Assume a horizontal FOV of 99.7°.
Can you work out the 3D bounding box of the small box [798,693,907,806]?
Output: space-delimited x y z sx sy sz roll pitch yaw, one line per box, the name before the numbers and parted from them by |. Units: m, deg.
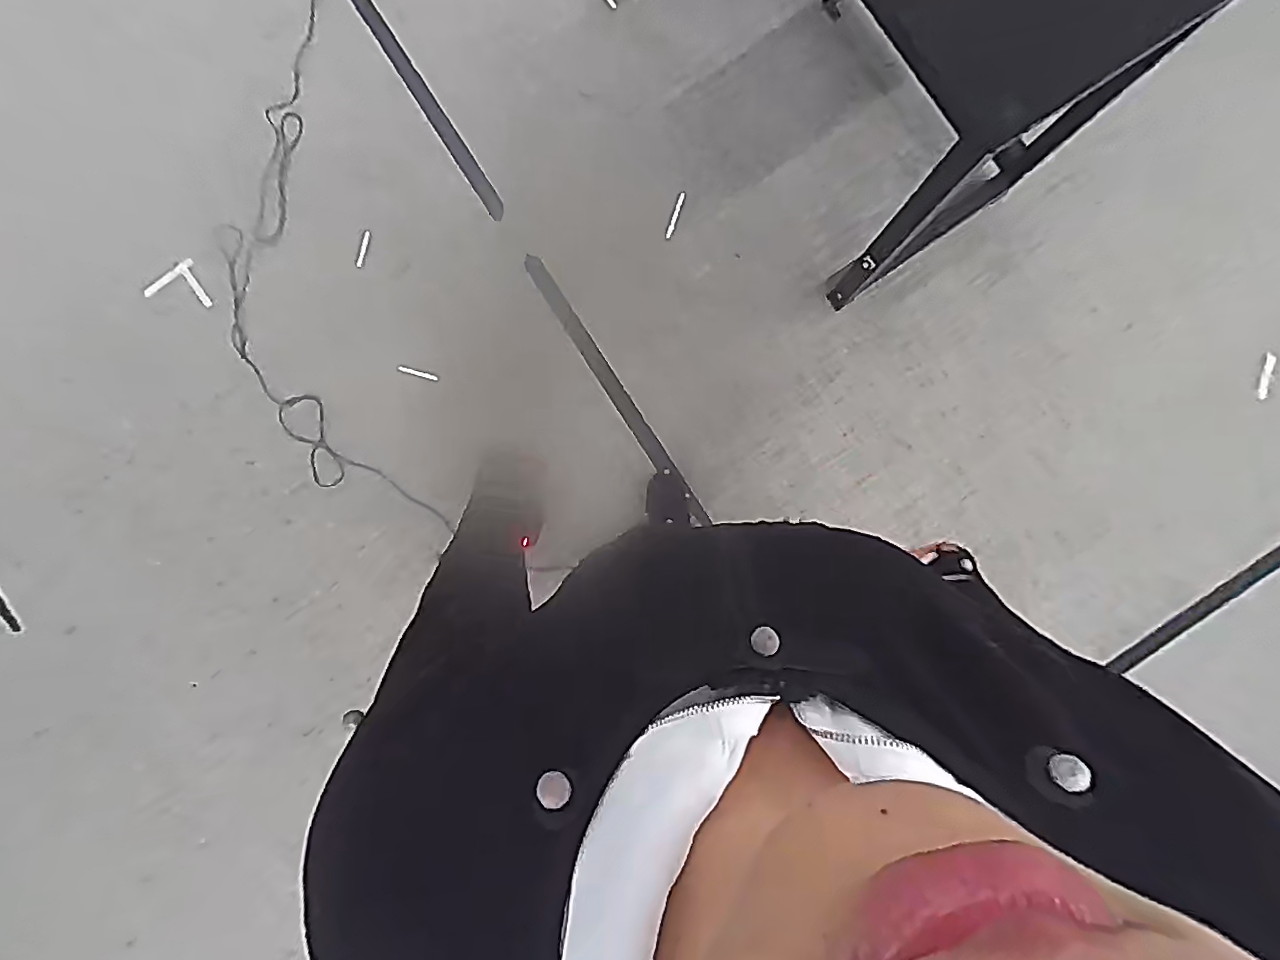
small box | 0.540 0.686 1.401 0.179 0.176 0.168 -34 87 1
